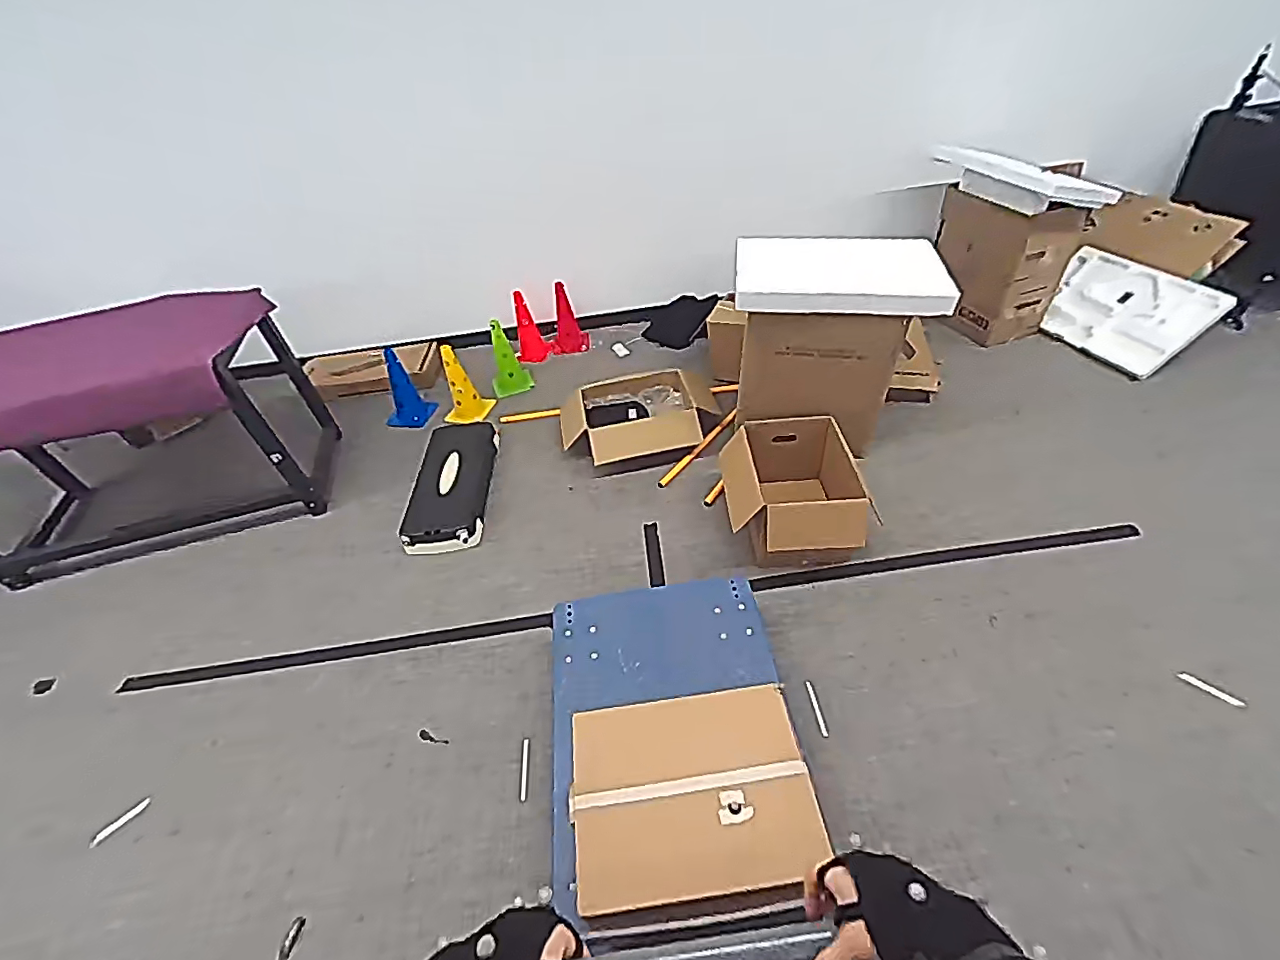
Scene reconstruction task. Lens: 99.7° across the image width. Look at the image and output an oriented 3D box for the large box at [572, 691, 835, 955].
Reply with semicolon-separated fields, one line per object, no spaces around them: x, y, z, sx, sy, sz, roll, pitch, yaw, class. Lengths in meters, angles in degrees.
0.095;0.645;1.022;0.408;0.320;0.320;-8;44;-2;large box
